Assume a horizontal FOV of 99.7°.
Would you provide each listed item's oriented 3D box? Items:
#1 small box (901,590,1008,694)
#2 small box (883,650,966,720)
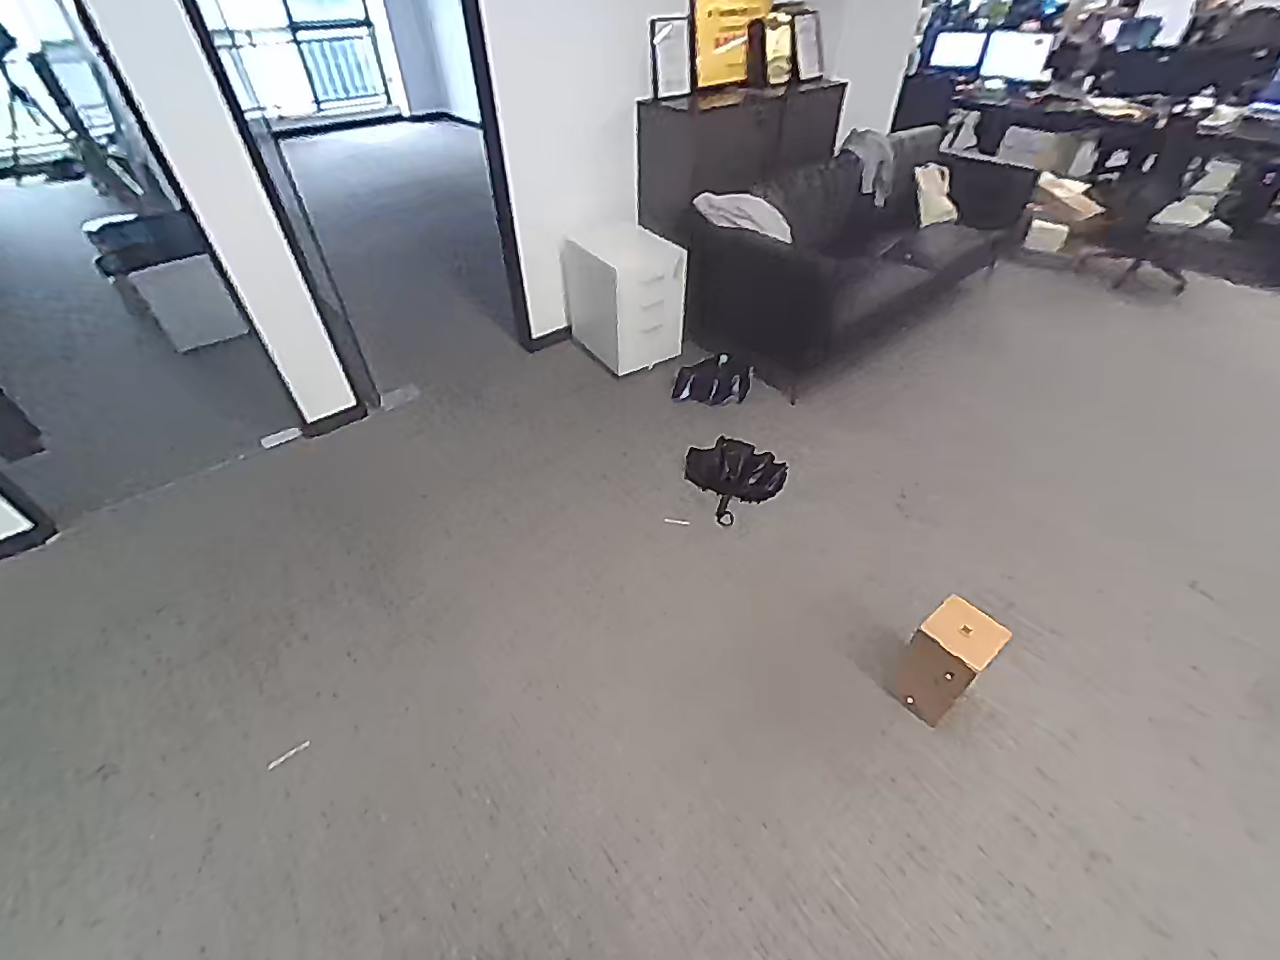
[{"bbox_3d":[0.832,0.438,1.451,0.179,0.176,0.168,-29,52,-28],"label":"small box"},{"bbox_3d":[0.837,0.552,1.566,0.179,0.176,0.168,-32,52,-27],"label":"small box"}]
